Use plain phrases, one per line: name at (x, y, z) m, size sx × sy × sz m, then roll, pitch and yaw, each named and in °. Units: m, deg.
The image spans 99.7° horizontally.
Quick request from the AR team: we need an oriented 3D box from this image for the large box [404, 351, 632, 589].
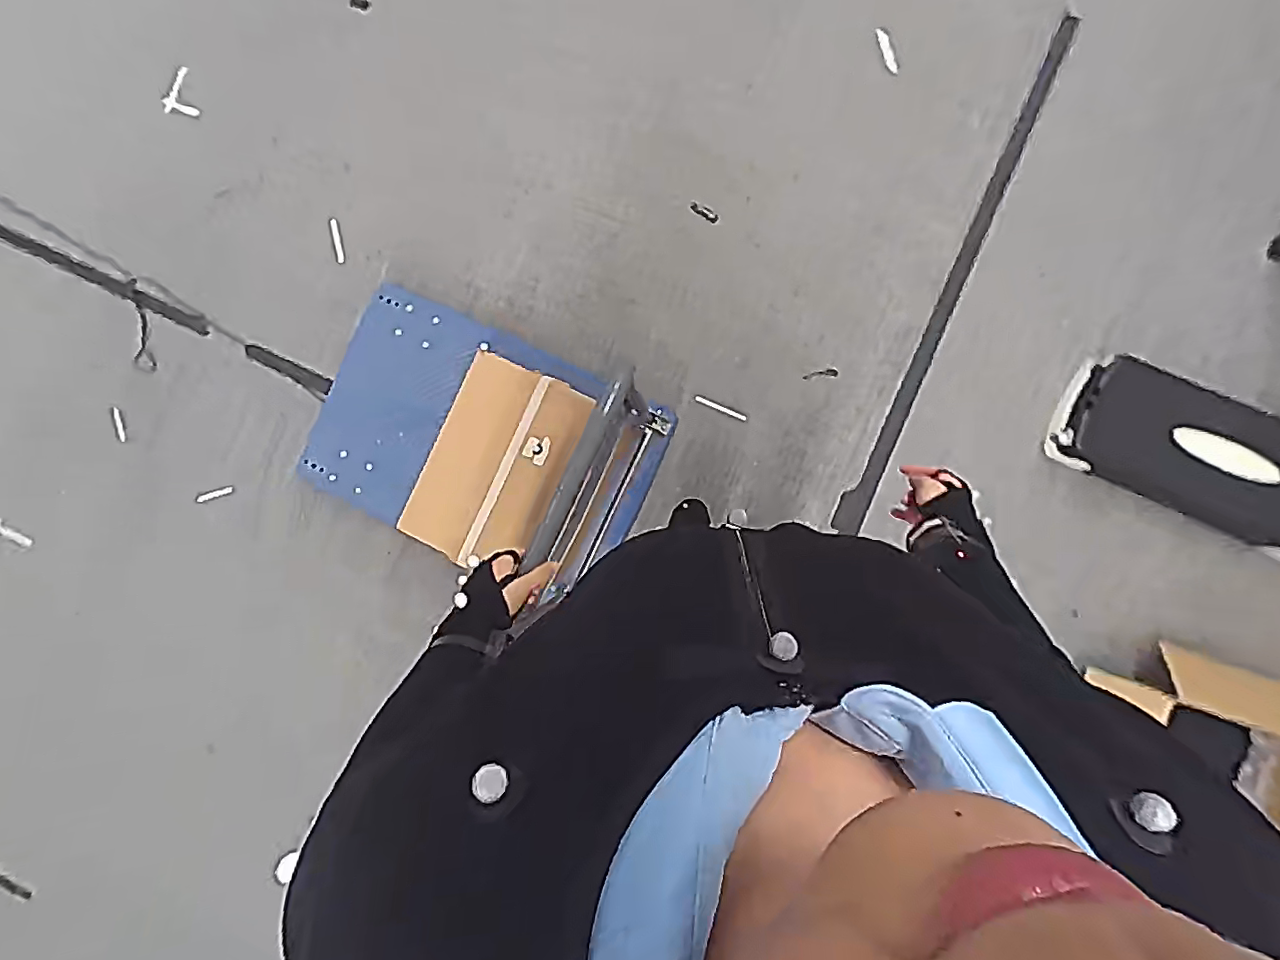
large box at (-0.250, -0.014, 1.229) m, size 0.320 × 0.320 × 0.408 m, roll 26°, pitch 90°, yaw 5°
